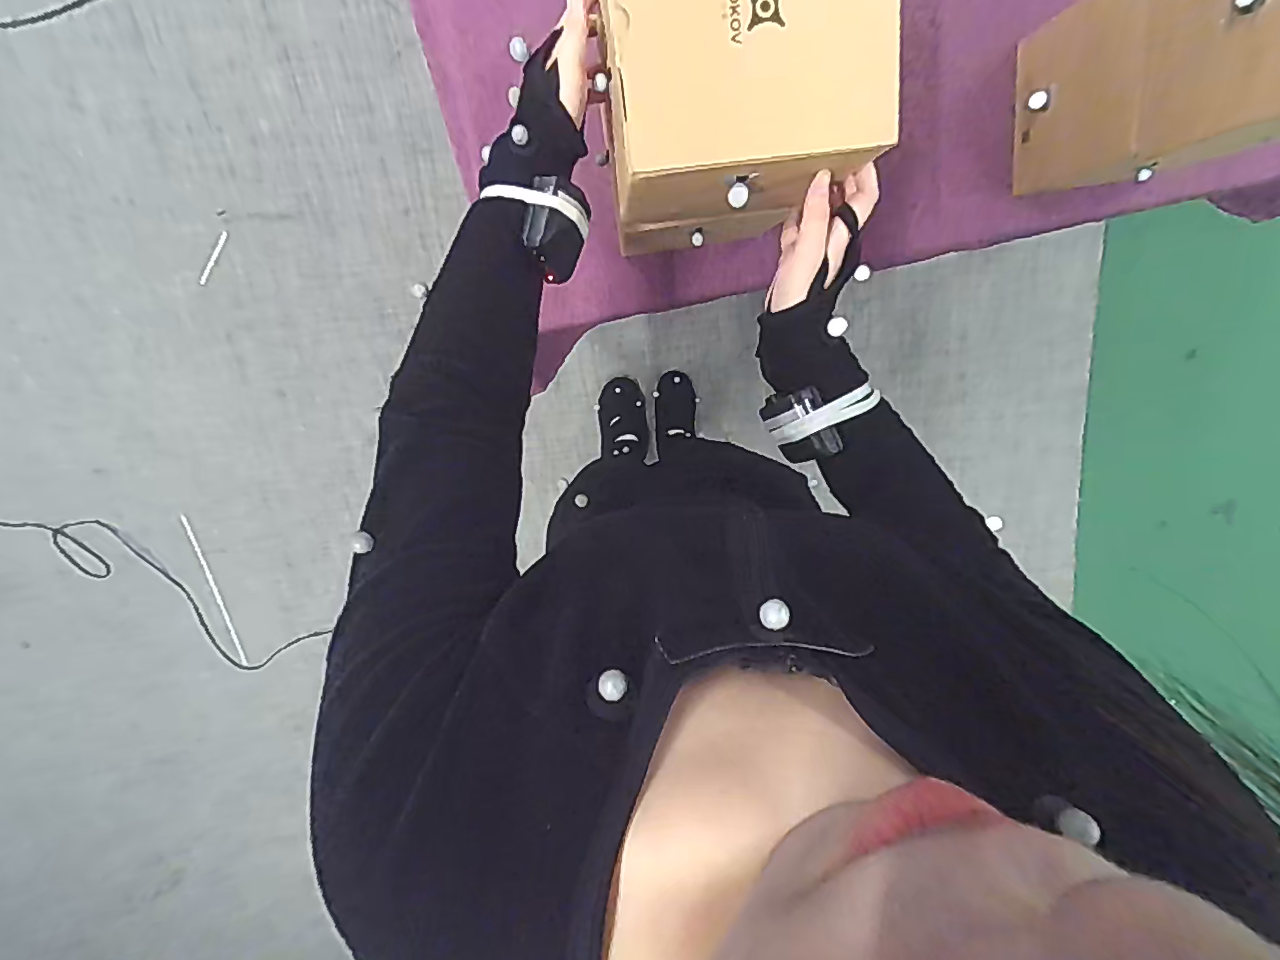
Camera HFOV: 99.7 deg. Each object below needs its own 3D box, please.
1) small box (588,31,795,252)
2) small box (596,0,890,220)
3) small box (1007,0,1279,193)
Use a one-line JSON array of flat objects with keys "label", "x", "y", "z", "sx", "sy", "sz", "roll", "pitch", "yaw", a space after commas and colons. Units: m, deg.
[{"label": "small box", "x": 0.050, "y": -0.347, "z": 0.568, "sx": 0.179, "sy": 0.176, "sz": 0.168, "roll": -8, "pitch": 106, "yaw": 1}, {"label": "small box", "x": 0.061, "y": -0.304, "z": 0.401, "sx": 0.179, "sy": 0.176, "sz": 0.168, "roll": -7, "pitch": 105, "yaw": 0}, {"label": "small box", "x": 0.530, "y": -0.420, "z": 0.566, "sx": 0.179, "sy": 0.176, "sz": 0.168, "roll": -9, "pitch": 105, "yaw": 2}]
